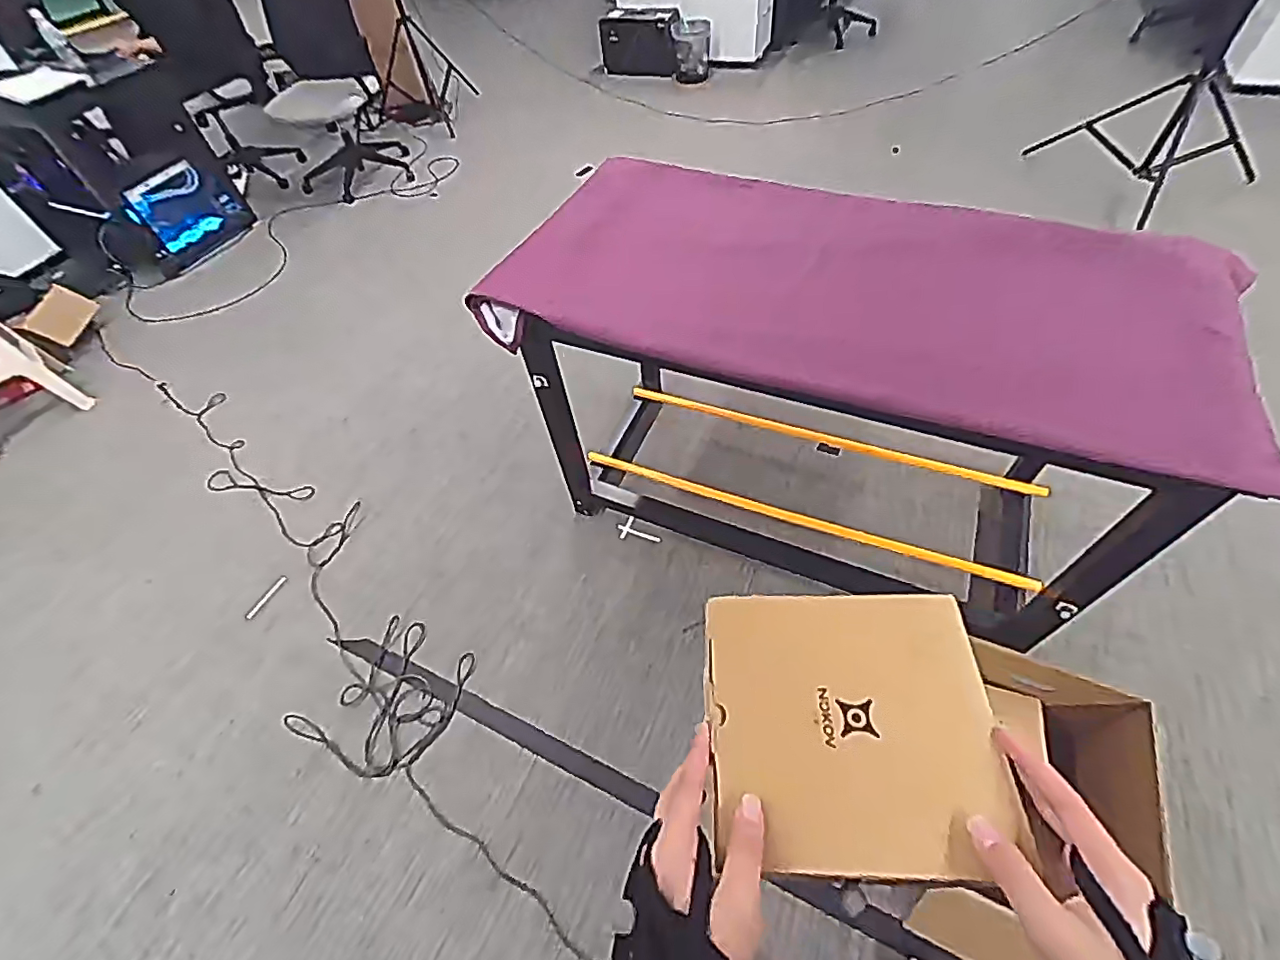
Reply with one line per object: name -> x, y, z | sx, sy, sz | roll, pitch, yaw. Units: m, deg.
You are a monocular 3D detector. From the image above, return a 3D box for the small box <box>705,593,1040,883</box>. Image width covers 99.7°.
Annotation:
small box -> 0.140, 0.195, 0.407 | 0.179, 0.176, 0.168 | -2, 54, 6
